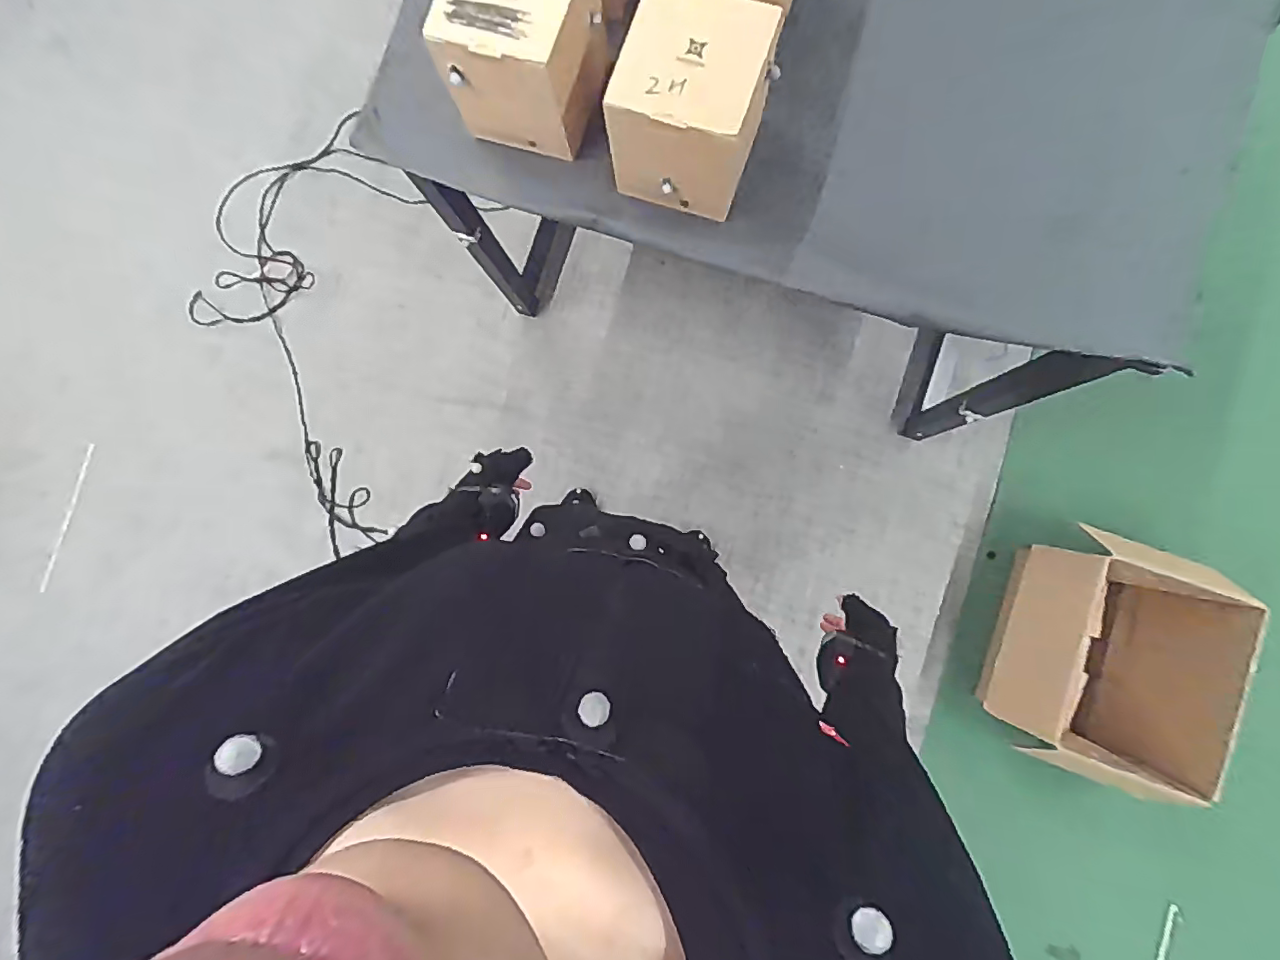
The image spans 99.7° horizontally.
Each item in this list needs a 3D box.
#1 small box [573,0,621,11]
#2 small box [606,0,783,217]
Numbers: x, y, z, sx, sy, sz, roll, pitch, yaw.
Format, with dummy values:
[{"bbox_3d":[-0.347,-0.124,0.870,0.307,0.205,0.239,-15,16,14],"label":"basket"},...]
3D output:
[{"bbox_3d":[-0.089,-0.808,0.745,0.168,0.176,0.179,17,87,5],"label":"small box"},{"bbox_3d":[0.068,-0.488,0.707,0.168,0.176,0.179,19,86,6],"label":"small box"}]
